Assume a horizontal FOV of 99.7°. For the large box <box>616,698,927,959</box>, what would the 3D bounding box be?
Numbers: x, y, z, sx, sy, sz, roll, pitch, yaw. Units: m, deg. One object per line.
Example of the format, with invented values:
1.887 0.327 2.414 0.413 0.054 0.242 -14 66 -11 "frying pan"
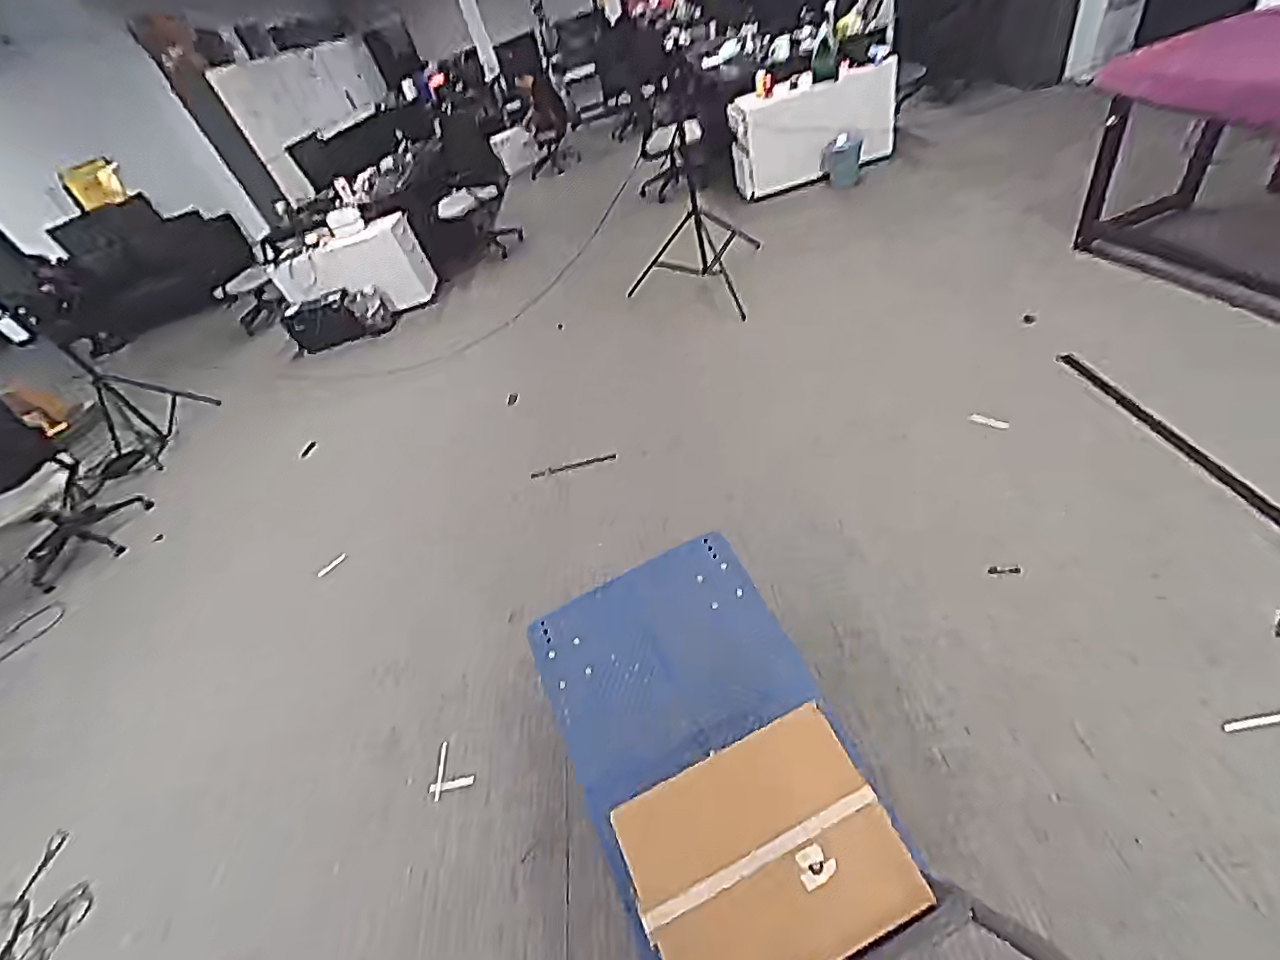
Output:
0.216 0.666 0.995 0.408 0.320 0.320 -26 60 -7 "large box"
